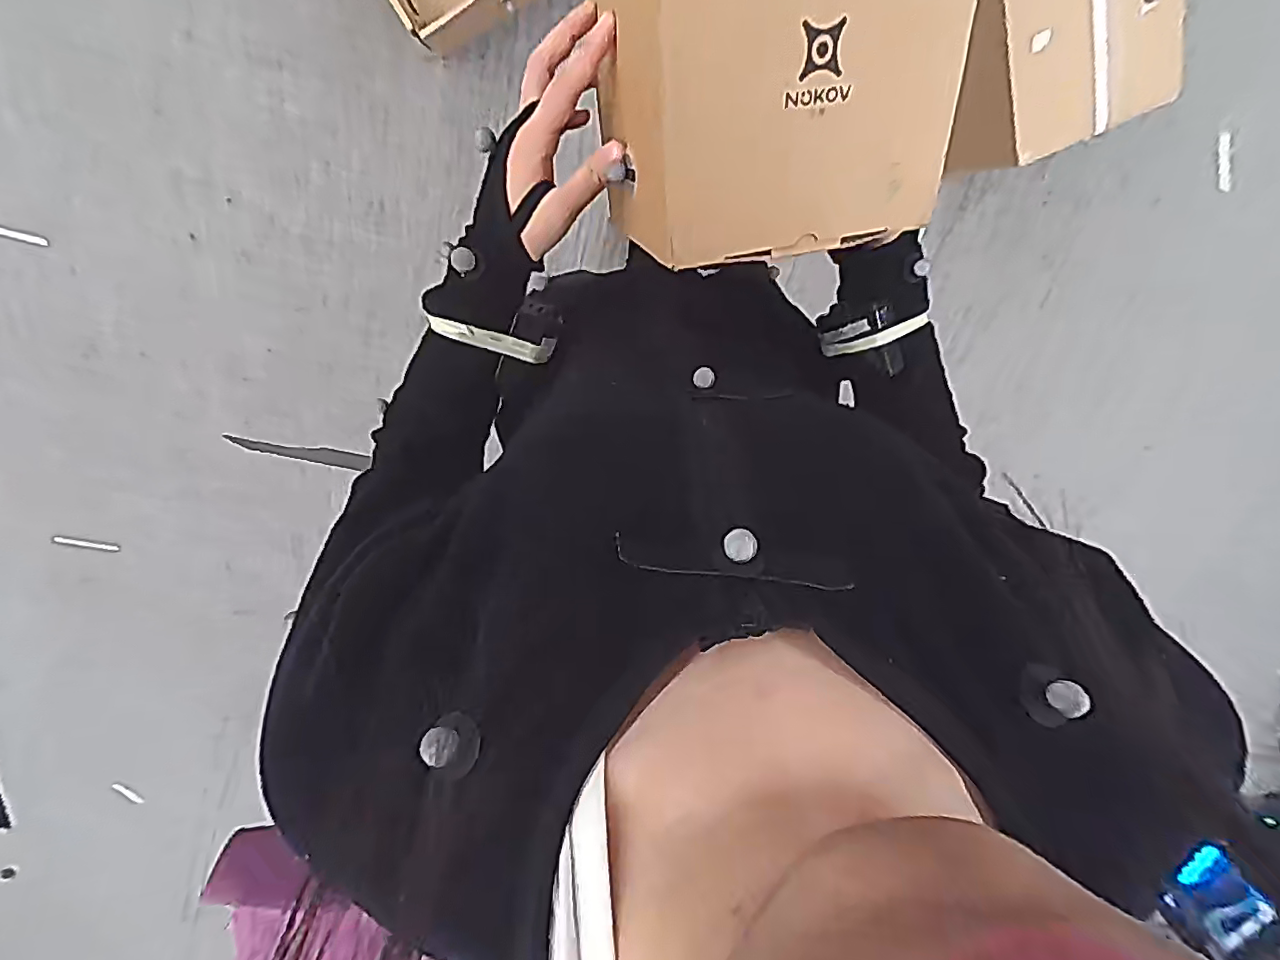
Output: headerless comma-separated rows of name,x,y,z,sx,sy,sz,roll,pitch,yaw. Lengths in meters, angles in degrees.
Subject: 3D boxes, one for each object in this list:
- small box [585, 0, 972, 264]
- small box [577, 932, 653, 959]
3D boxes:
small box,0.066,-0.252,0.329,0.168,0.176,0.179,-14,126,-9
small box,-0.061,1.221,1.292,0.168,0.176,0.179,10,116,-12
